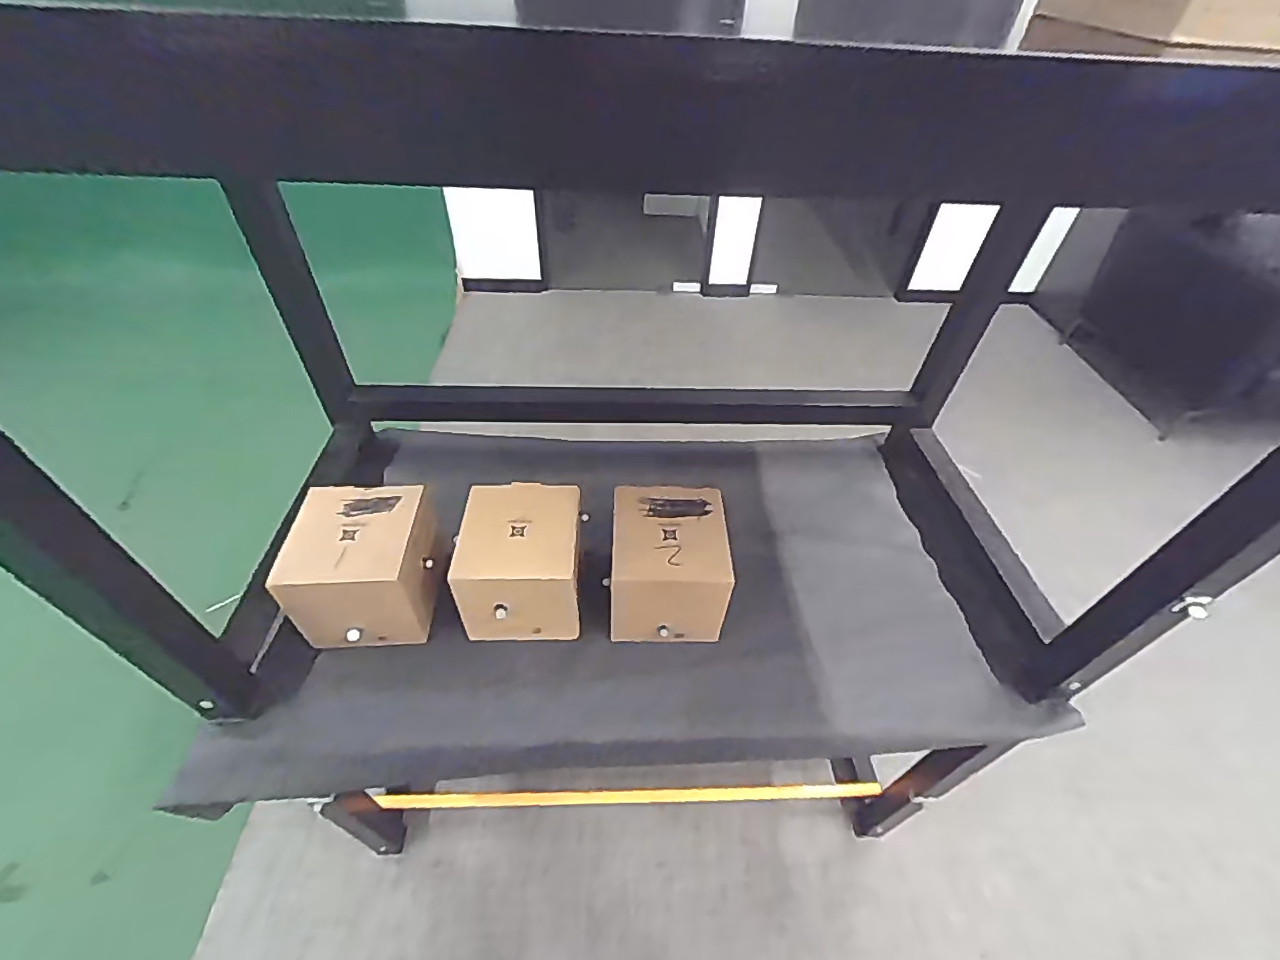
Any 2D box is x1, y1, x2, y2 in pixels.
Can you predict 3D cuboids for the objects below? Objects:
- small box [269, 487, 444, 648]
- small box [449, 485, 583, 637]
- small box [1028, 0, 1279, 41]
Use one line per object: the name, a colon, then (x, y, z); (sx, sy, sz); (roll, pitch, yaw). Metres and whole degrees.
small box: (-0.401, 0.129, 0.806); (0.168, 0.176, 0.179); (-2, 45, -5)
small box: (-0.175, 0.126, 0.824); (0.168, 0.176, 0.179); (0, 44, -3)
small box: (0.350, -0.334, 0.273); (0.168, 0.176, 0.179); (6, 44, 3)
